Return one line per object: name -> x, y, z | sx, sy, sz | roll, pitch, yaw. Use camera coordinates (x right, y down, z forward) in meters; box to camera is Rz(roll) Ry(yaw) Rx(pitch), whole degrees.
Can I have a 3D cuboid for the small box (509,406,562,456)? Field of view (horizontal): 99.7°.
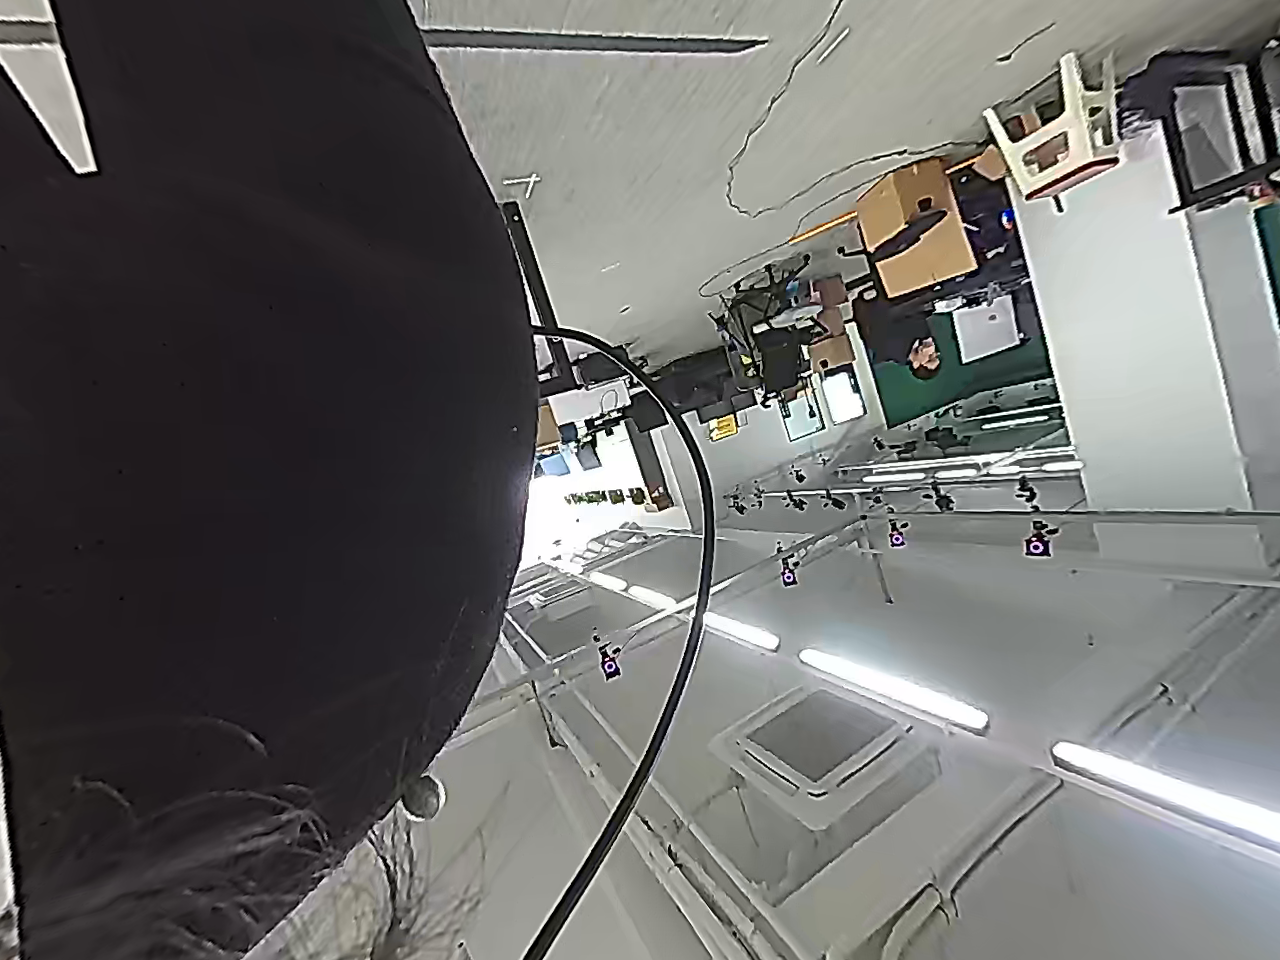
small box -> -0.453, -0.213, 2.320 | 0.168, 0.176, 0.179 | -19, -175, -21
